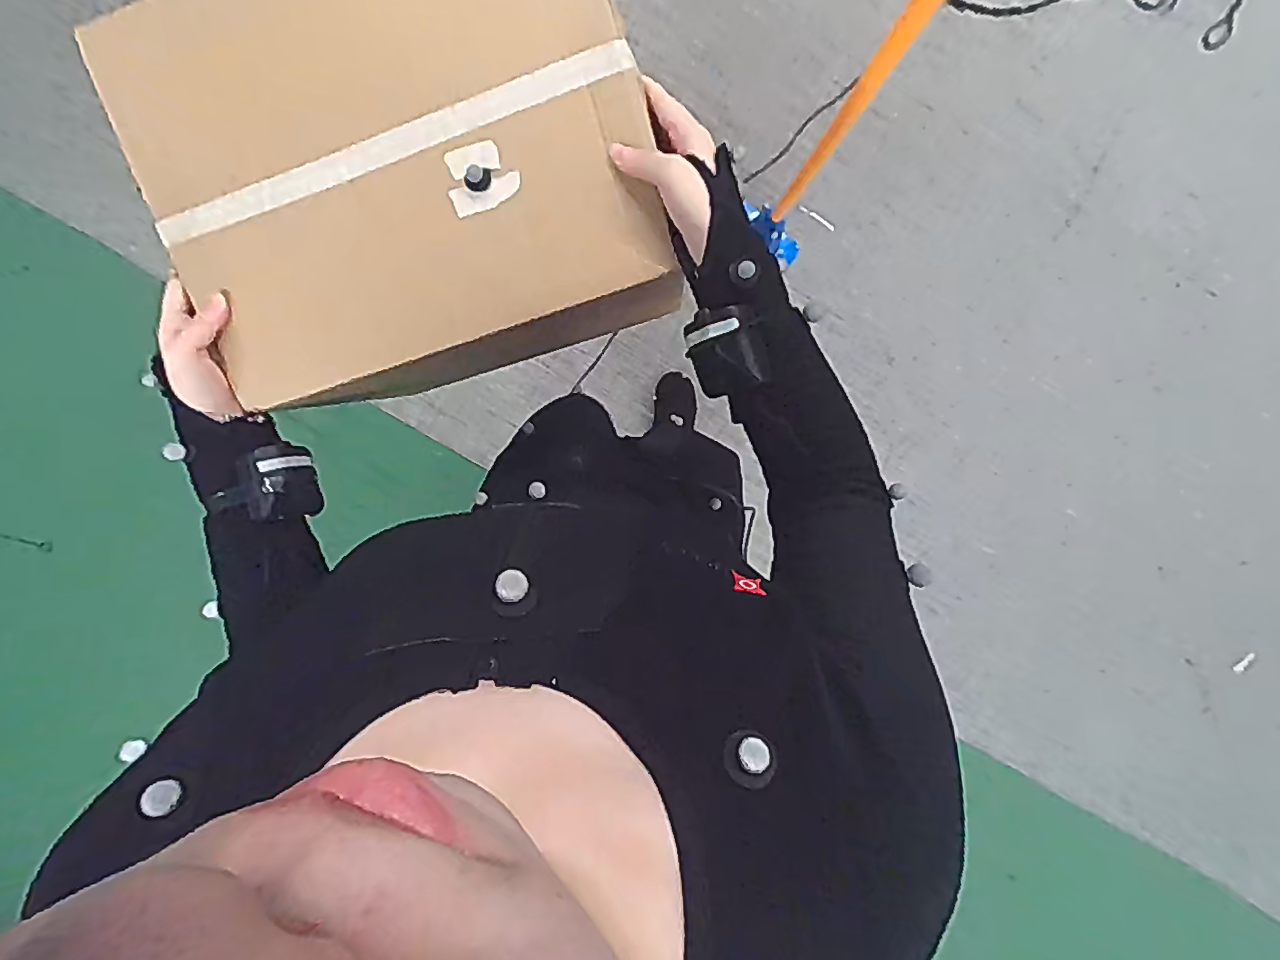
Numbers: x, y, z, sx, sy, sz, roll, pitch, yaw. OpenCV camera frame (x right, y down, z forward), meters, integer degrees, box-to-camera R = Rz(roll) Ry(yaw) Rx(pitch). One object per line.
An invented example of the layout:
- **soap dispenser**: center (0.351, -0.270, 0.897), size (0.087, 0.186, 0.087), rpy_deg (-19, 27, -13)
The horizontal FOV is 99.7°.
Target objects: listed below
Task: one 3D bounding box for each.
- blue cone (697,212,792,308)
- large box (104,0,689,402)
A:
- **blue cone**: center (0.259, -0.528, 1.216), size (0.193, 0.380, 0.192), rpy_deg (39, 101, -5)
- **large box**: center (-0.189, -0.297, 0.579), size (0.408, 0.320, 0.320), rpy_deg (-17, 101, 5)
